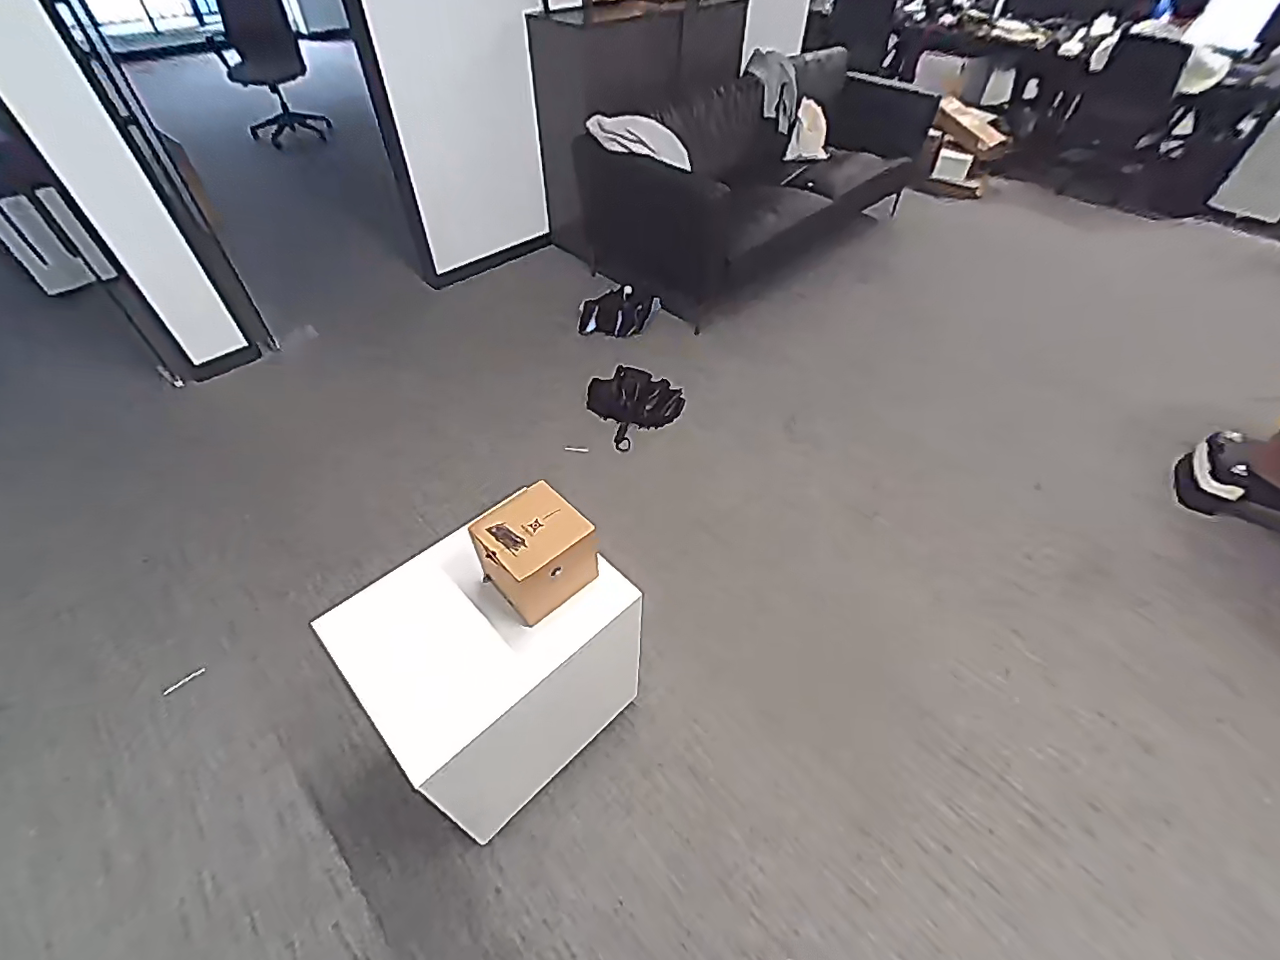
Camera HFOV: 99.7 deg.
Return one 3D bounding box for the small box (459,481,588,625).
[{"bbox_3d":[-0.212,0.140,1.030,0.179,0.176,0.168,-34,59,-31],"label":"small box"}]
